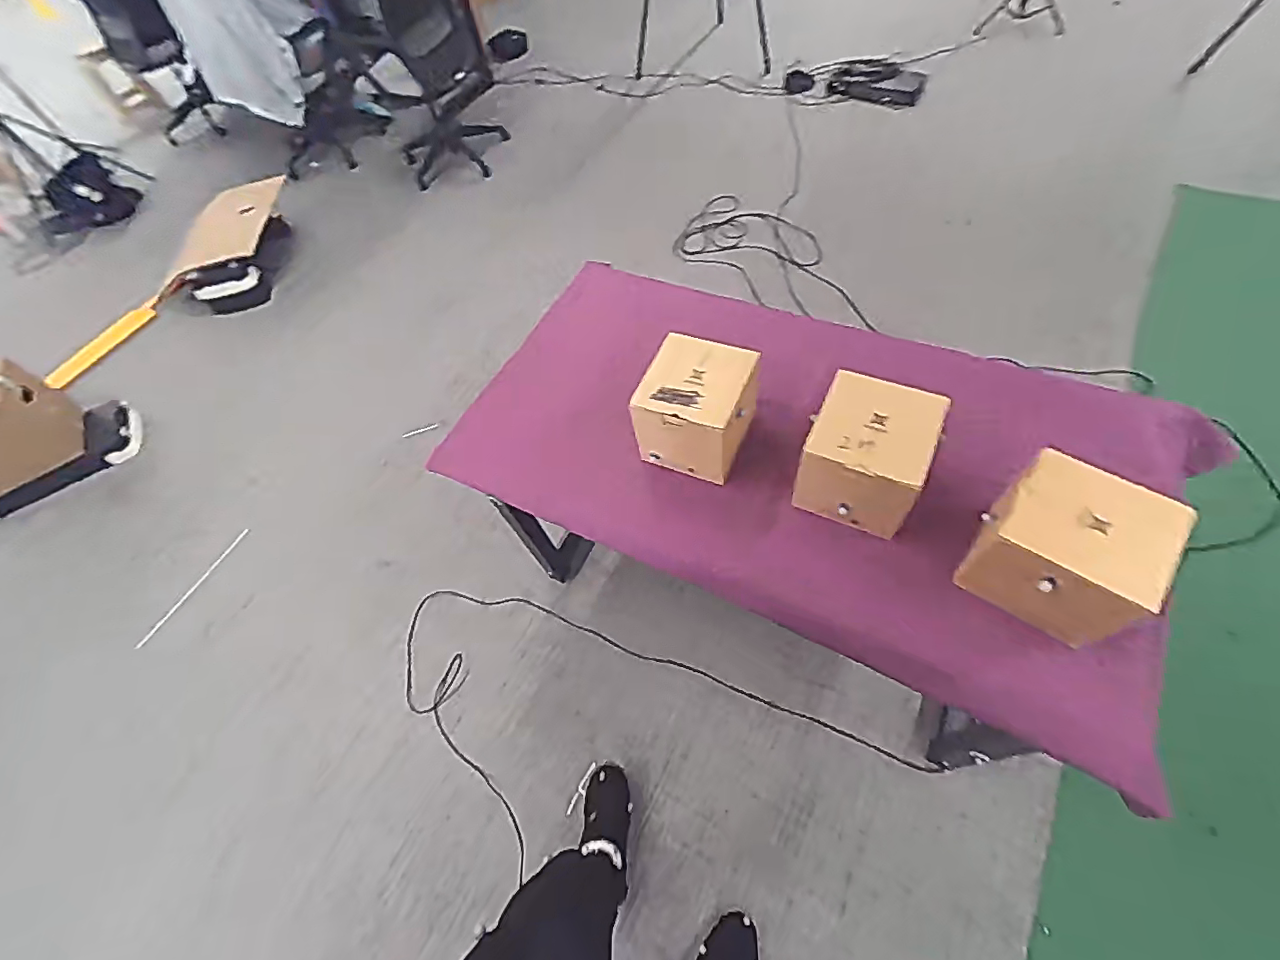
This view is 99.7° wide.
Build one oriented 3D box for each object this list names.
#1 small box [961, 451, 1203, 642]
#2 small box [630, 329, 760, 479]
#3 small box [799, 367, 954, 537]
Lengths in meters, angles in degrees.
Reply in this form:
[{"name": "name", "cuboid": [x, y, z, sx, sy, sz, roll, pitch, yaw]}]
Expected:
[{"name": "small box", "cuboid": [0.581, 0.098, 0.735, 0.179, 0.176, 0.168, 32, 69, 26]}, {"name": "small box", "cuboid": [0.103, -0.128, 0.948, 0.168, 0.176, 0.179, 19, 63, 19]}, {"name": "small box", "cuboid": [0.361, -0.041, 0.854, 0.168, 0.176, 0.179, 22, 65, 21]}]
